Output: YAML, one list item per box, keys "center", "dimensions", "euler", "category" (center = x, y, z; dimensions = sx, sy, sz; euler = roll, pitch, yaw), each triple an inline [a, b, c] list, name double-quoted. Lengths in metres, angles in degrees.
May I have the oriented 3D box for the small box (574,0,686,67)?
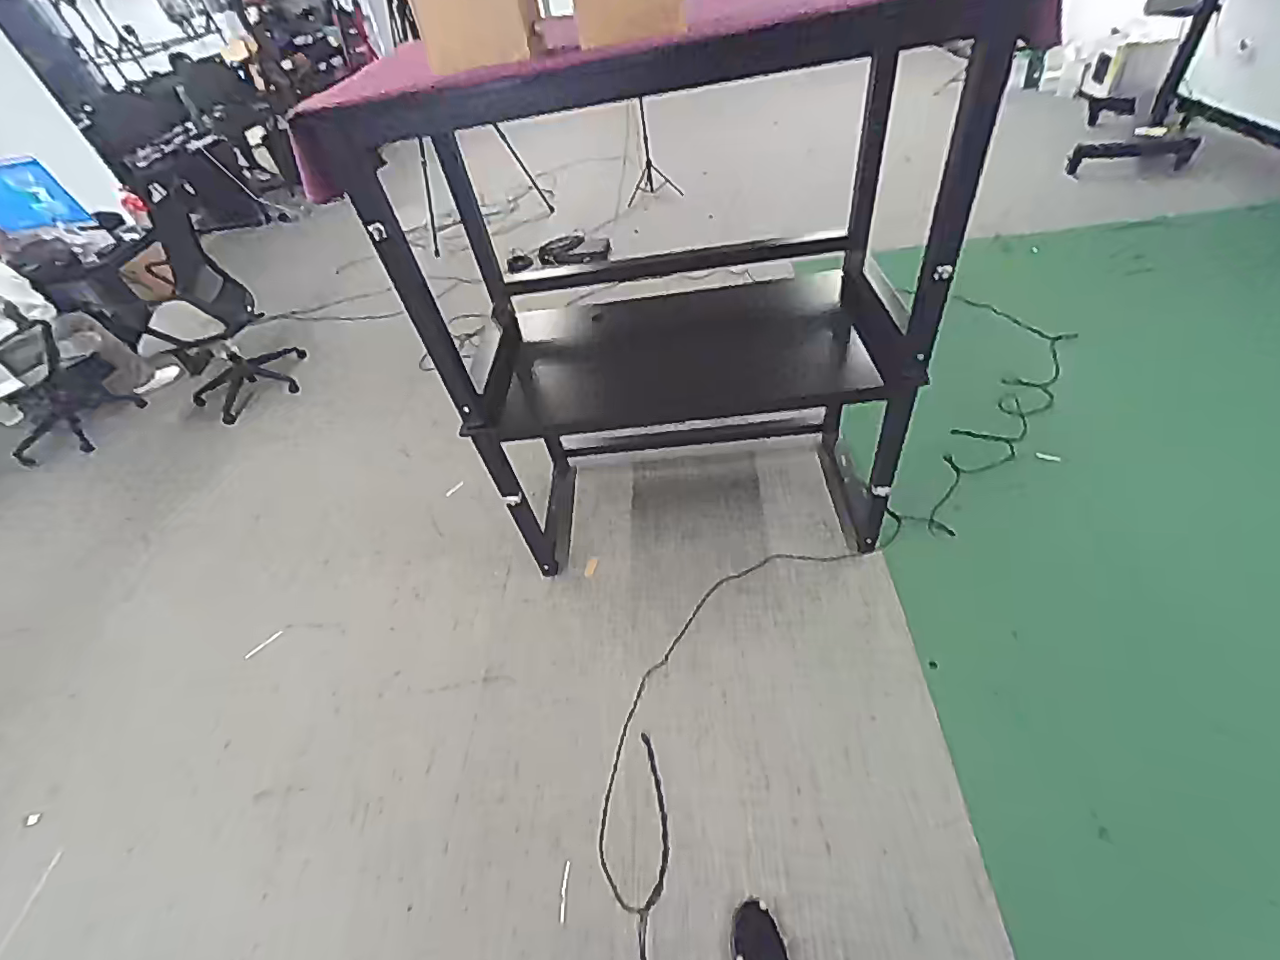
- center: [-0.017, -0.815, 0.896]
  dimensions: [0.179, 0.176, 0.168]
  euler: [-7, 45, 7]
  category: "small box"

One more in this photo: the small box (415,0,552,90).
- center: [-0.268, -0.792, 0.927]
  dimensions: [0.179, 0.176, 0.168]
  euler: [-4, 46, 8]
  category: "small box"
